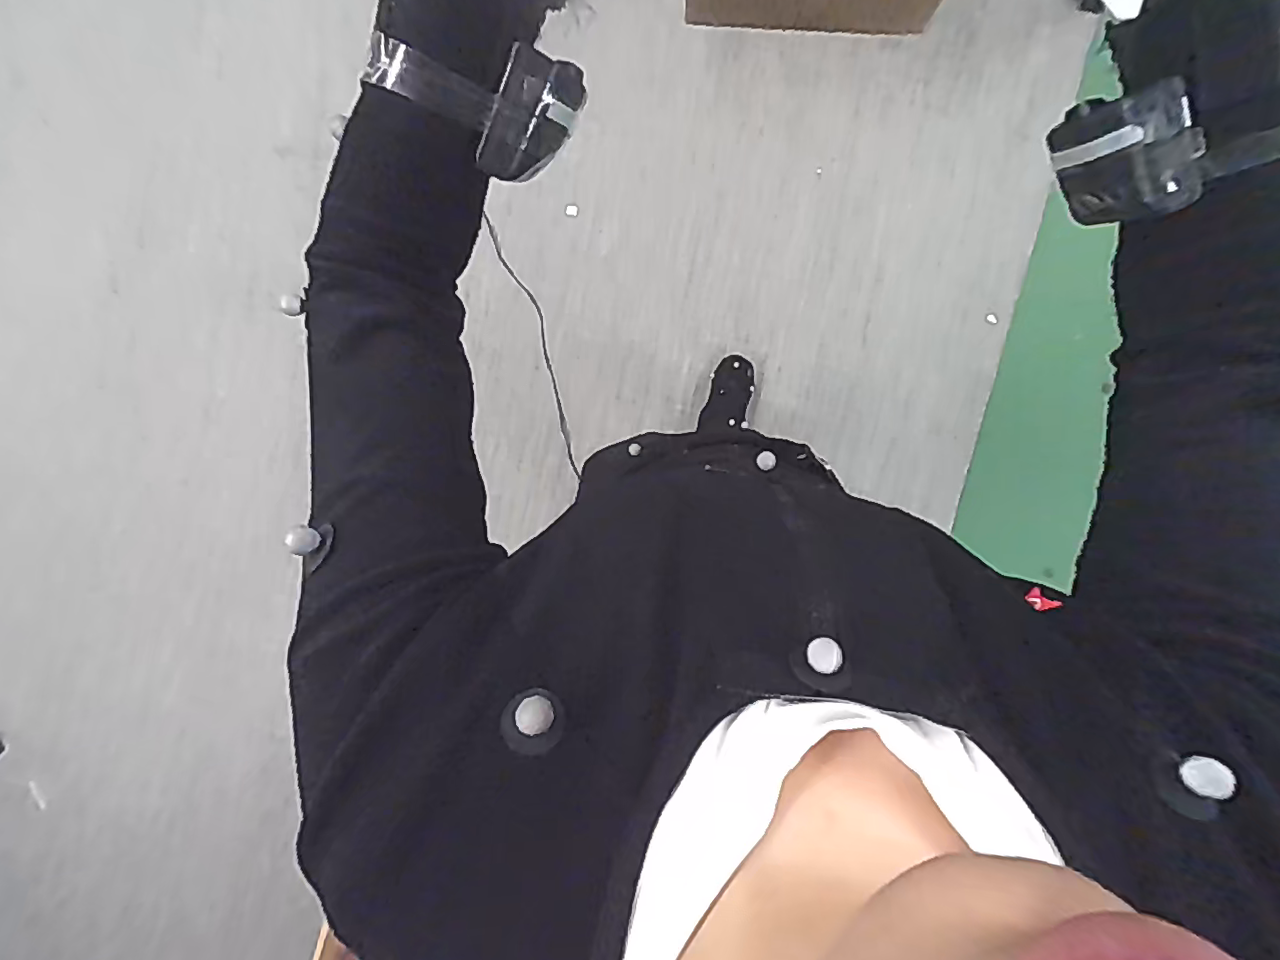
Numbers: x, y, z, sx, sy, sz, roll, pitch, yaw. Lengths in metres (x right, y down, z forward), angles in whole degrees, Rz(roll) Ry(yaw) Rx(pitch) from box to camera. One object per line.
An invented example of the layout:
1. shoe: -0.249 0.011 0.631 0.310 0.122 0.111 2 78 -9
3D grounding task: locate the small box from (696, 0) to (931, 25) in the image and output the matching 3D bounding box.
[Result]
1. small box: 0.124 -0.411 0.311 0.179 0.176 0.168 5 91 1
